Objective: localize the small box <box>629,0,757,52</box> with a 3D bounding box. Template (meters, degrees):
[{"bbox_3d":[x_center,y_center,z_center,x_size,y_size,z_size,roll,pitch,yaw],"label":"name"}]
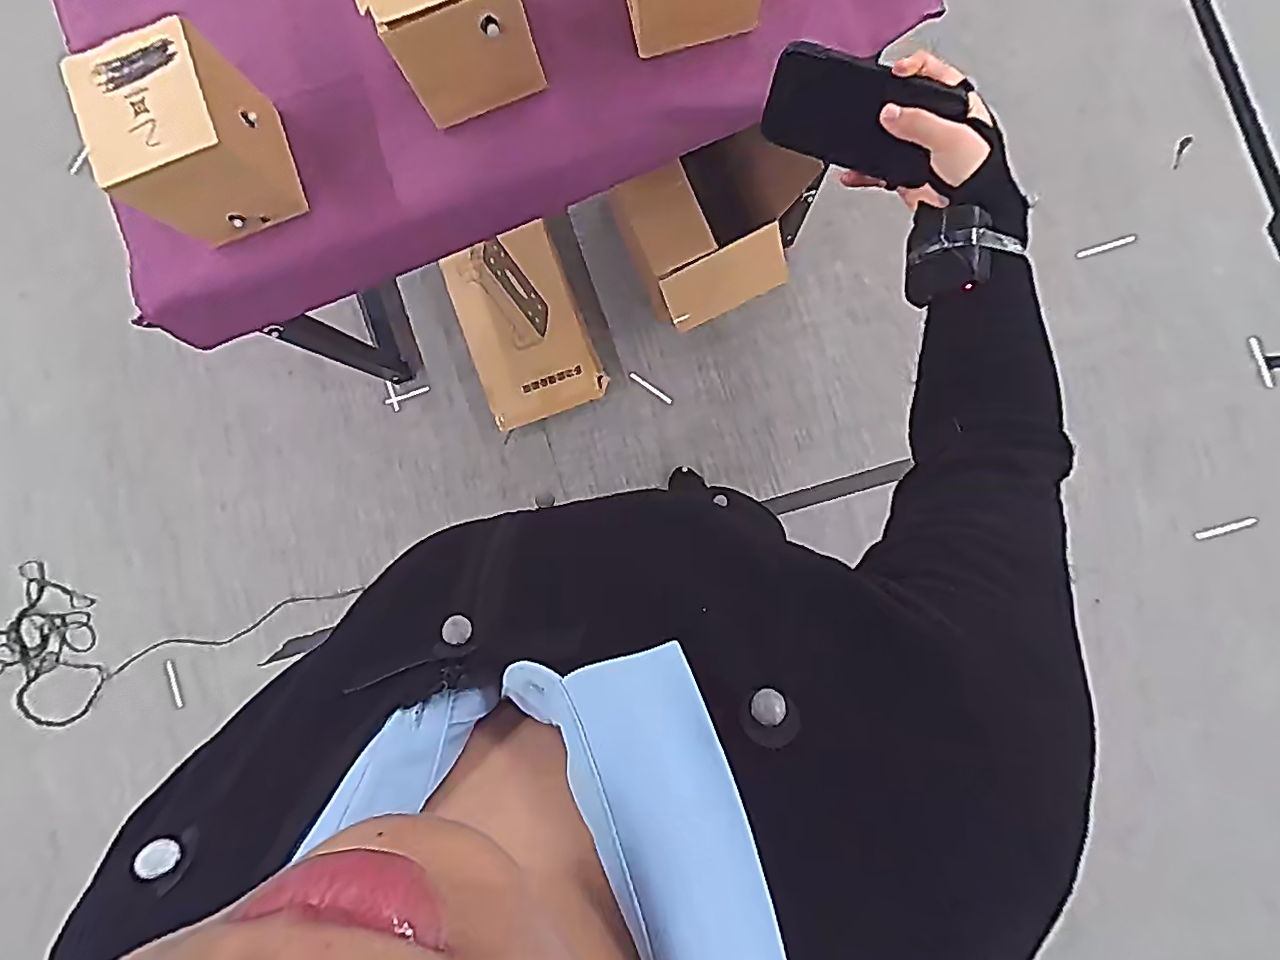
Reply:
[{"bbox_3d":[0.062,-0.709,0.701,0.179,0.176,0.168,-13,88,3],"label":"small box"}]

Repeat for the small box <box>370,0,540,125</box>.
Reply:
[{"bbox_3d":[-0.245,-0.624,0.716,0.179,0.176,0.168,-20,85,3],"label":"small box"}]
